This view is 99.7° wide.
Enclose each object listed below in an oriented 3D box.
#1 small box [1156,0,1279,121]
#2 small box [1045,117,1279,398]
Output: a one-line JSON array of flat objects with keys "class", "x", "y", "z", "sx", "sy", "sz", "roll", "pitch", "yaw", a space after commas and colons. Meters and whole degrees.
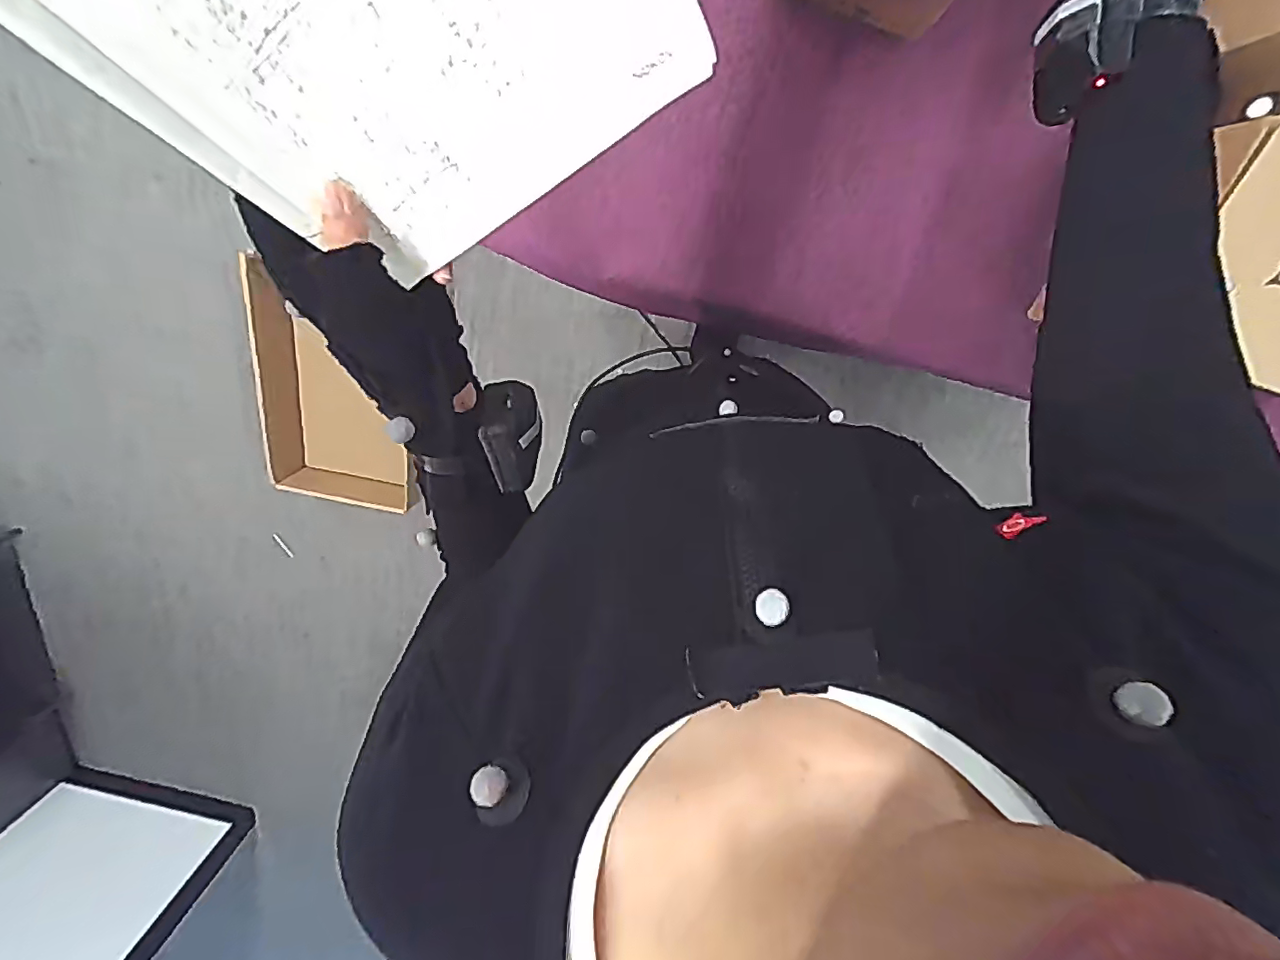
[{"class": "small box", "x": 0.571, "y": -0.401, "z": 0.411, "sx": 0.168, "sy": 0.176, "sz": 0.179, "roll": 17, "pitch": 115, "yaw": -1}, {"class": "small box", "x": 0.534, "y": -0.203, "z": 0.508, "sx": 0.168, "sy": 0.176, "sz": 0.179, "roll": 19, "pitch": 116, "yaw": -1}]
